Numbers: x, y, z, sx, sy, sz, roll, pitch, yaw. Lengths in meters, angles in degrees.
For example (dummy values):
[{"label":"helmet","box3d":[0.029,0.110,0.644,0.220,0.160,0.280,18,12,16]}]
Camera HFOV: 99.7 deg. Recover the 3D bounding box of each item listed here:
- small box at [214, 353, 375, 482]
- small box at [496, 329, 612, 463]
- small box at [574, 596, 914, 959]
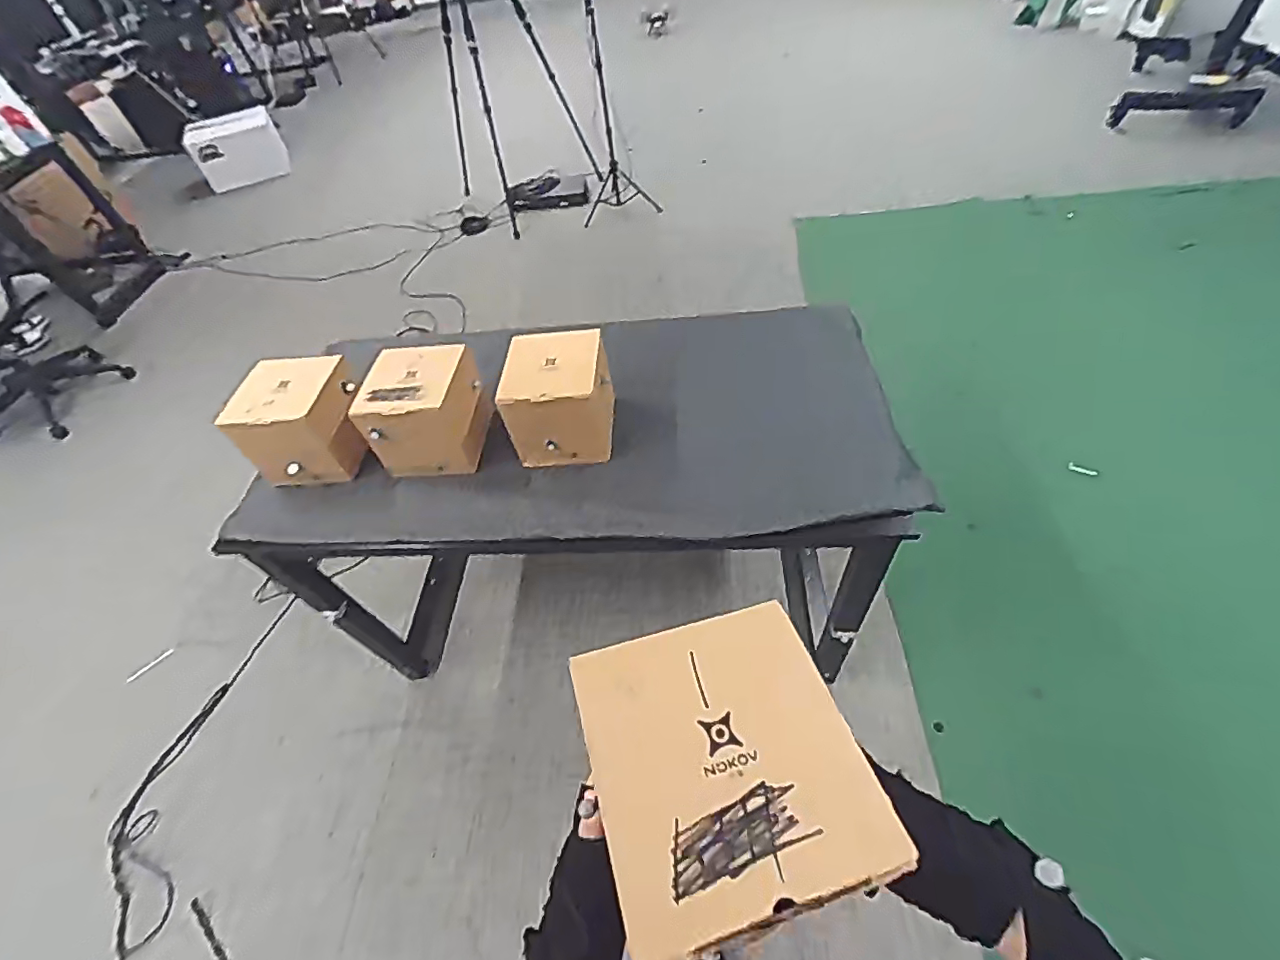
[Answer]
[{"label":"small box","box3d":[-0.631,-0.116,1.019,0.168,0.176,0.179,-3,50,4]},{"label":"small box","box3d":[-0.145,-0.152,0.989,0.168,0.176,0.179,-3,52,5]},{"label":"small box","box3d":[0.054,0.218,0.398,0.168,0.176,0.179,-12,49,-11]}]
